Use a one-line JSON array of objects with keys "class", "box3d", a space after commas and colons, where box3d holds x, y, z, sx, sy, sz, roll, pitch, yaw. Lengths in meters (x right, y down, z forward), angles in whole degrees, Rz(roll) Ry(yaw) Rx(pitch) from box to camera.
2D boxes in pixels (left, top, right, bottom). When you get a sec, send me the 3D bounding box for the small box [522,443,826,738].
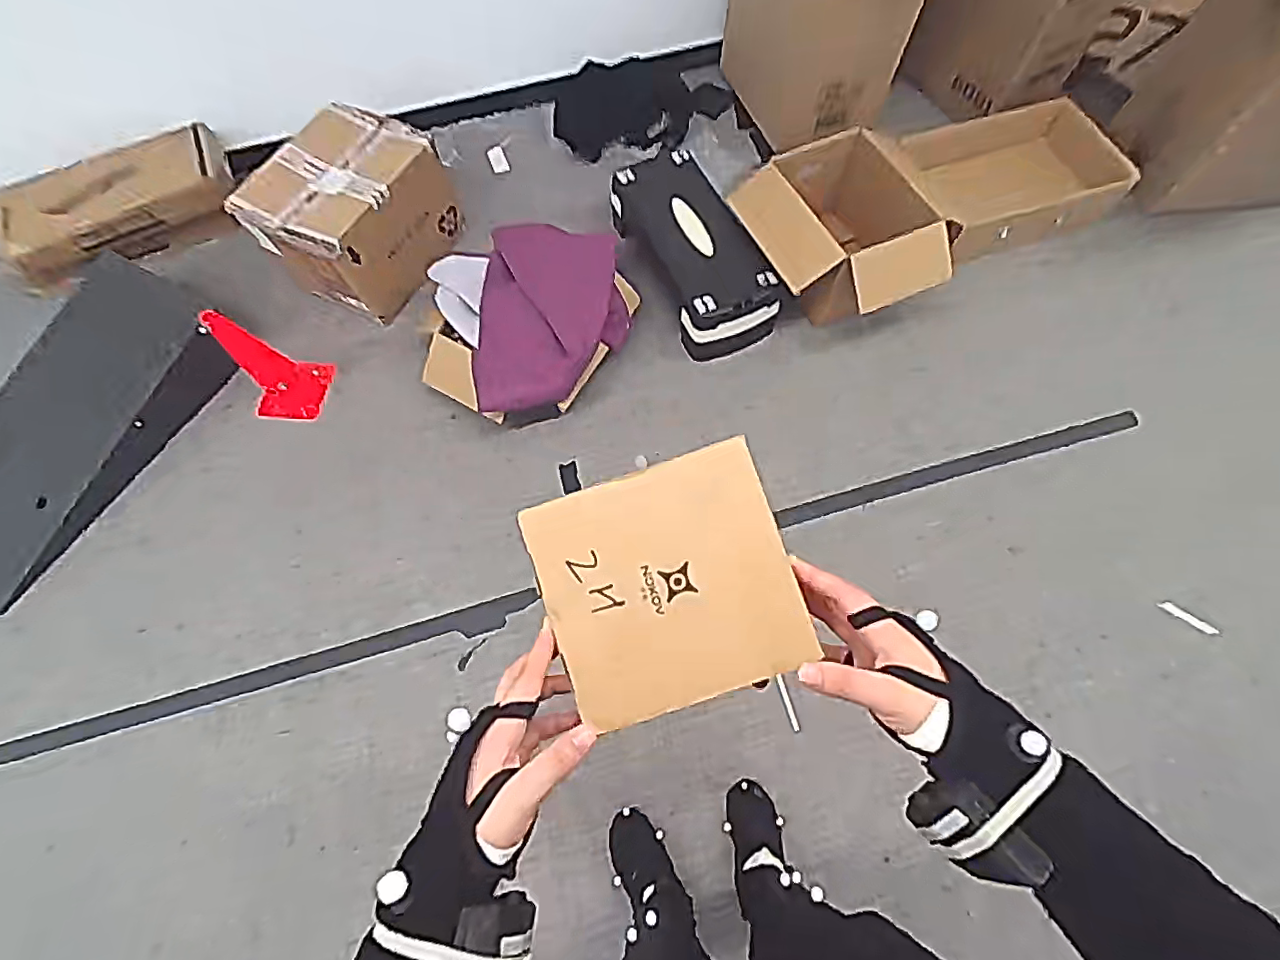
[{"class": "small box", "box3d": [0.025, 0.079, 0.454, 0.179, 0.176, 0.168, -19, 86, 2]}]
